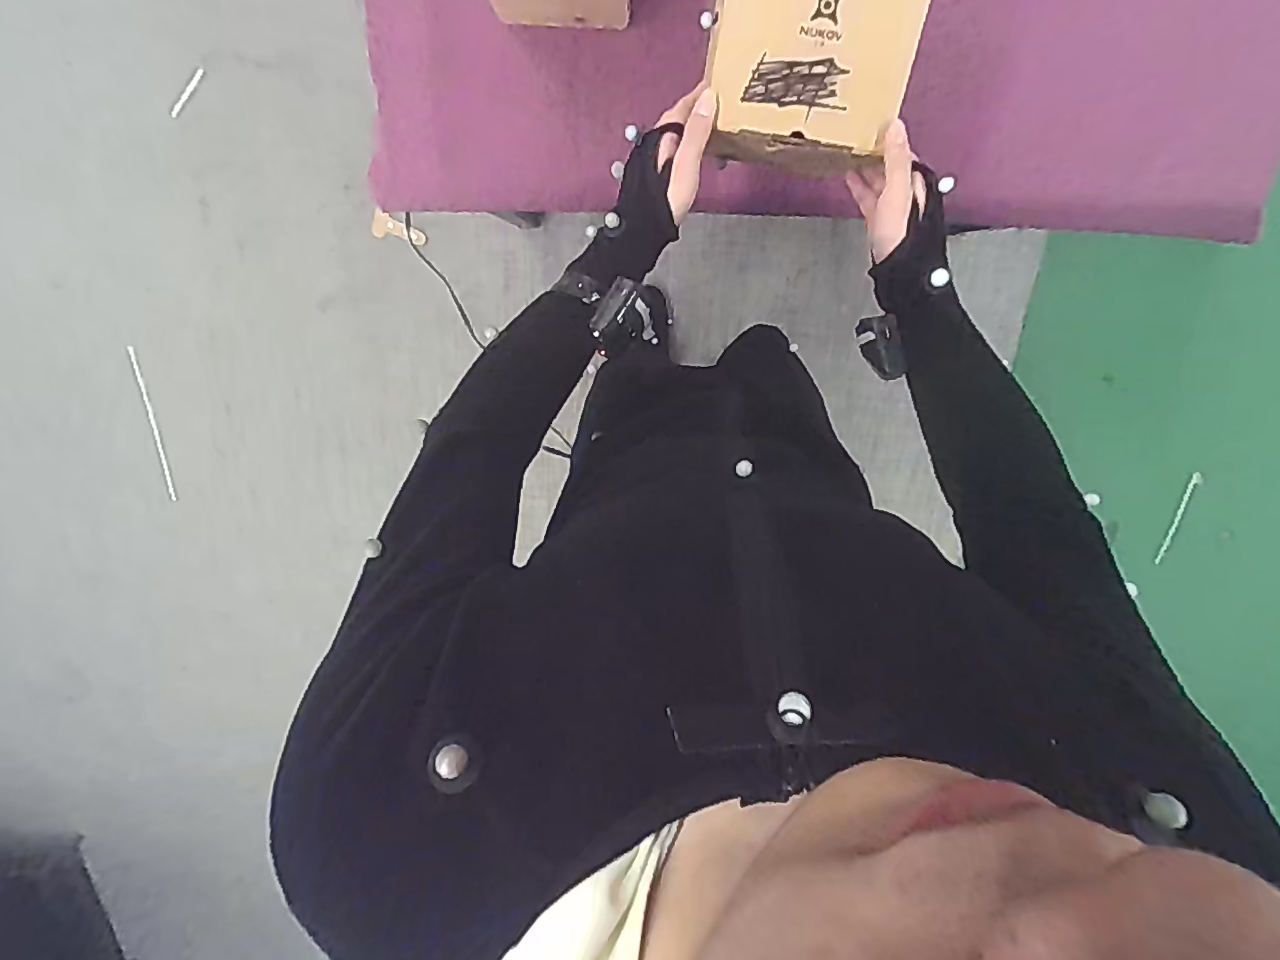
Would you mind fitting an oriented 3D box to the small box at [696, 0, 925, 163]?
[{"bbox_3d":[0.150,-0.417,0.511,0.168,0.176,0.179,8,113,-2],"label":"small box"}]

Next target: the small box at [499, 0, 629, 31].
[{"bbox_3d":[-0.091,-0.633,0.582,0.168,0.176,0.179,2,109,-1],"label":"small box"}]
